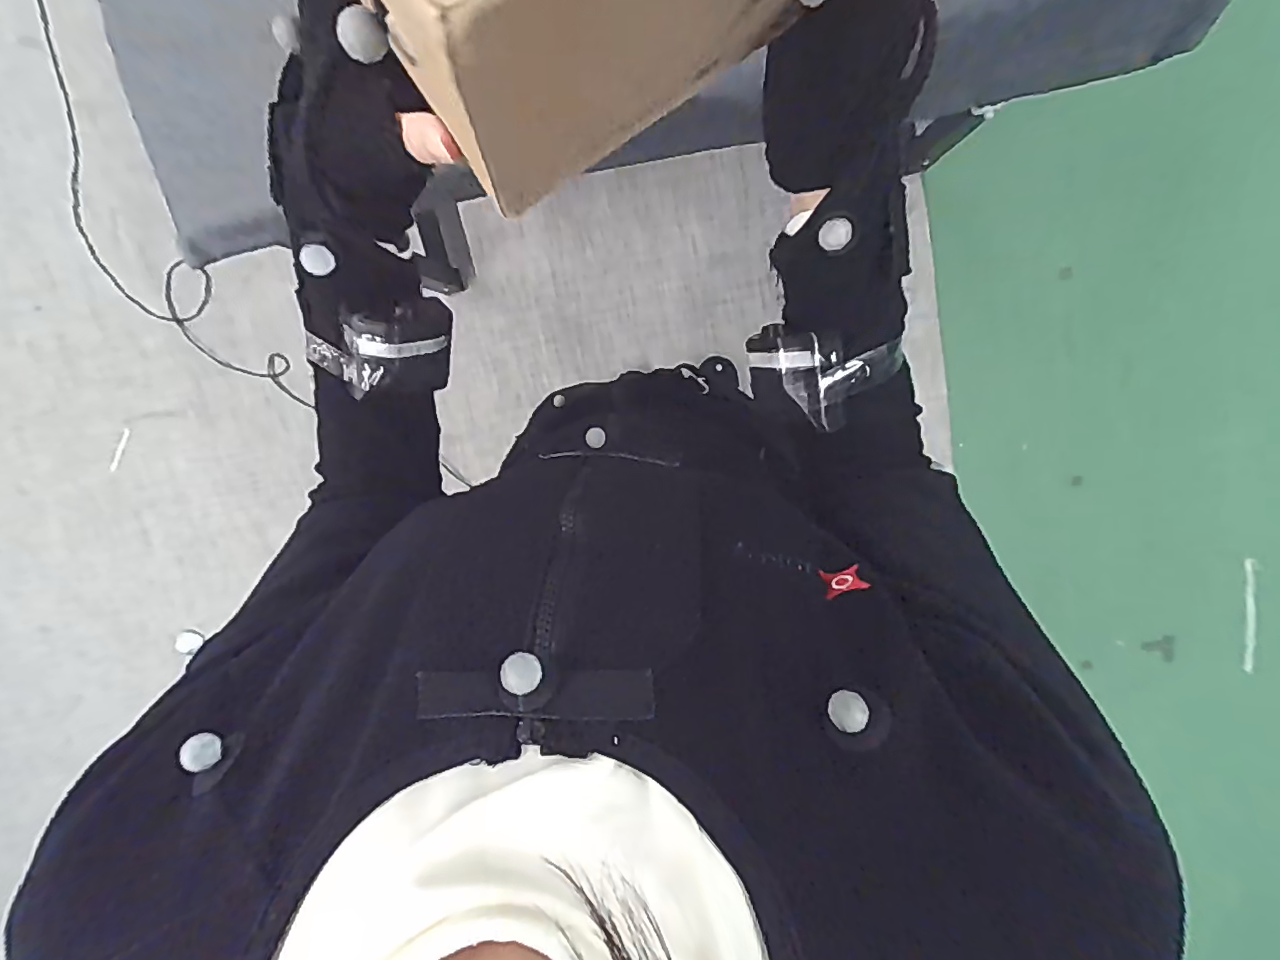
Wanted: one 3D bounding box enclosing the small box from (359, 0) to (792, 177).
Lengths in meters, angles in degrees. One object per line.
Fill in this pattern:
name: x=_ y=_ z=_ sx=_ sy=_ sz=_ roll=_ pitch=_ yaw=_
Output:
small box: x=-0.029 y=-0.220 z=0.155 sx=0.168 sy=0.176 sz=0.179 roll=-35 pitch=106 yaw=-1
